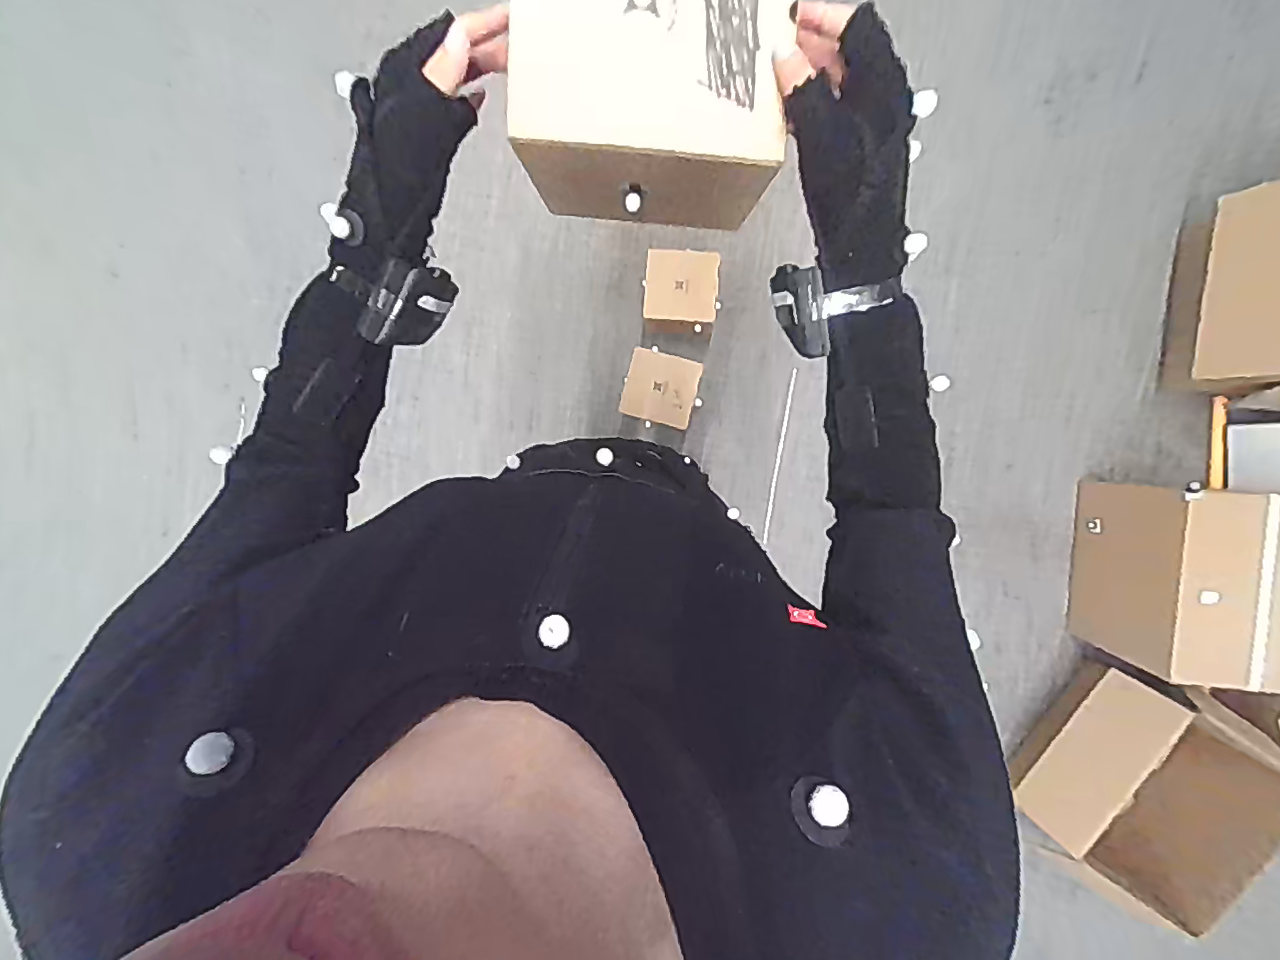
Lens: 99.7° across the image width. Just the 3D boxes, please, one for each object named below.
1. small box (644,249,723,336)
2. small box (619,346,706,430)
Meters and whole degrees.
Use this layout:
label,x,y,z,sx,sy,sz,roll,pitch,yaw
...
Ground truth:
label,x,y,z,sx,sy,sz,roll,pitch,yaw
small box,0.108,-0.466,1.362,0.179,0.176,0.168,5,94,3
small box,0.059,-0.226,1.378,0.179,0.176,0.168,16,95,3
